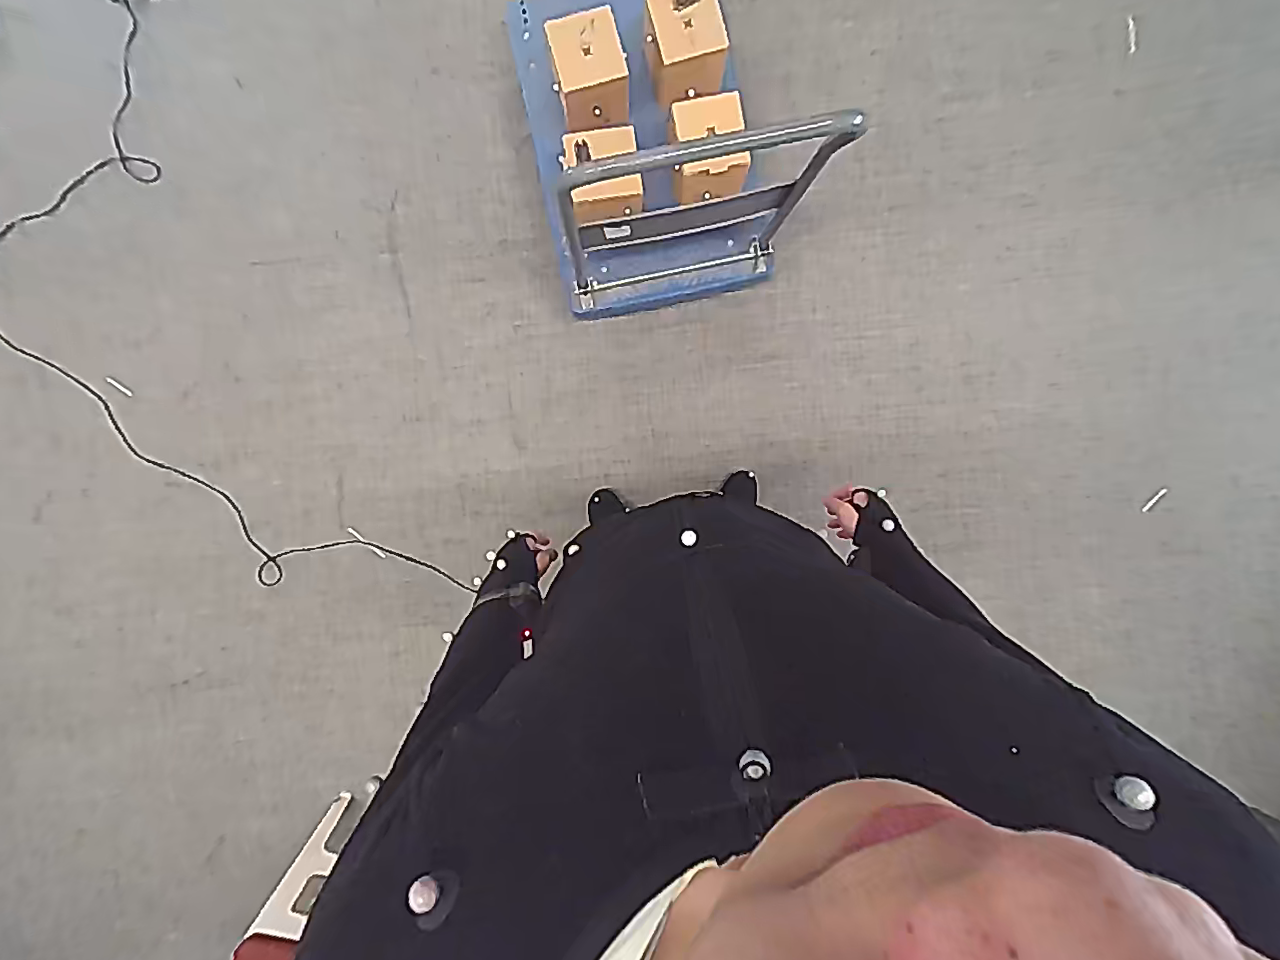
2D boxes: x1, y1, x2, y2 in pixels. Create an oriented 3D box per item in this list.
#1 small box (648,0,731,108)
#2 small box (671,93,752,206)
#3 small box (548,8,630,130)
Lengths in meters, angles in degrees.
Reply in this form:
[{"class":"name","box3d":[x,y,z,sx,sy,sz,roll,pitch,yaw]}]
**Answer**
[{"class":"small box","box3d":[0.120,-1.106,1.384,0.168,0.176,0.179,-15,92,1]},{"class":"small box","box3d":[0.177,-0.842,1.389,0.168,0.176,0.179,-11,91,0]},{"class":"small box","box3d":[-0.122,-1.037,1.385,0.168,0.176,0.179,-16,91,-1]}]
